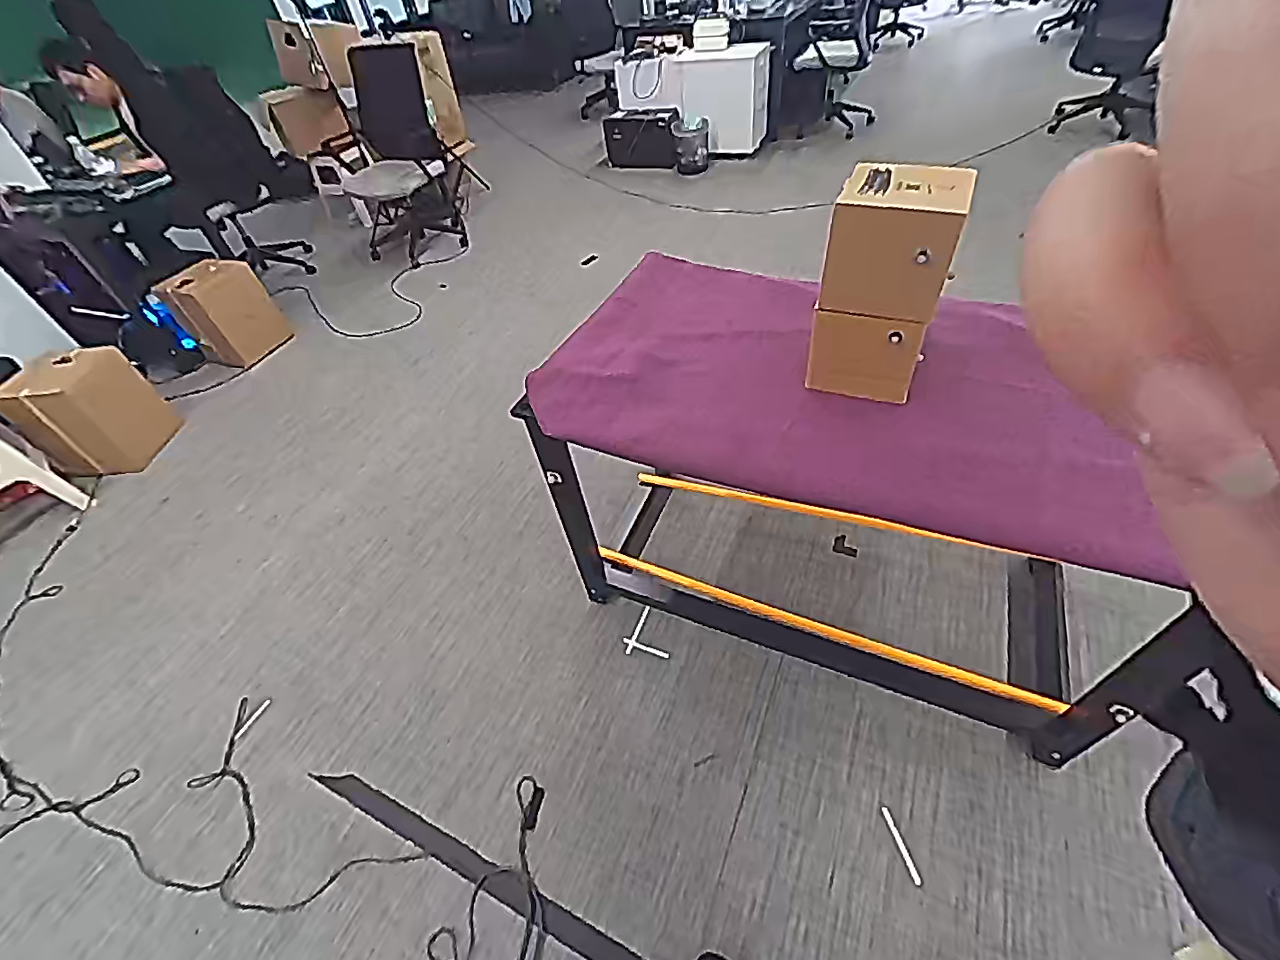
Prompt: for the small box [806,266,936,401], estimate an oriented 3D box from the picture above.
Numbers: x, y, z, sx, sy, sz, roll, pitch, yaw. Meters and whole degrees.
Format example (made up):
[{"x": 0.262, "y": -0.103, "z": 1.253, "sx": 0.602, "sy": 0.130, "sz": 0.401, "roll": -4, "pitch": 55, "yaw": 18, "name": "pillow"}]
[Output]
[{"x": 0.409, "y": -0.262, "z": 0.973, "sx": 0.179, "sy": 0.176, "sz": 0.168, "roll": 15, "pitch": 51, "yaw": 21, "name": "small box"}]
